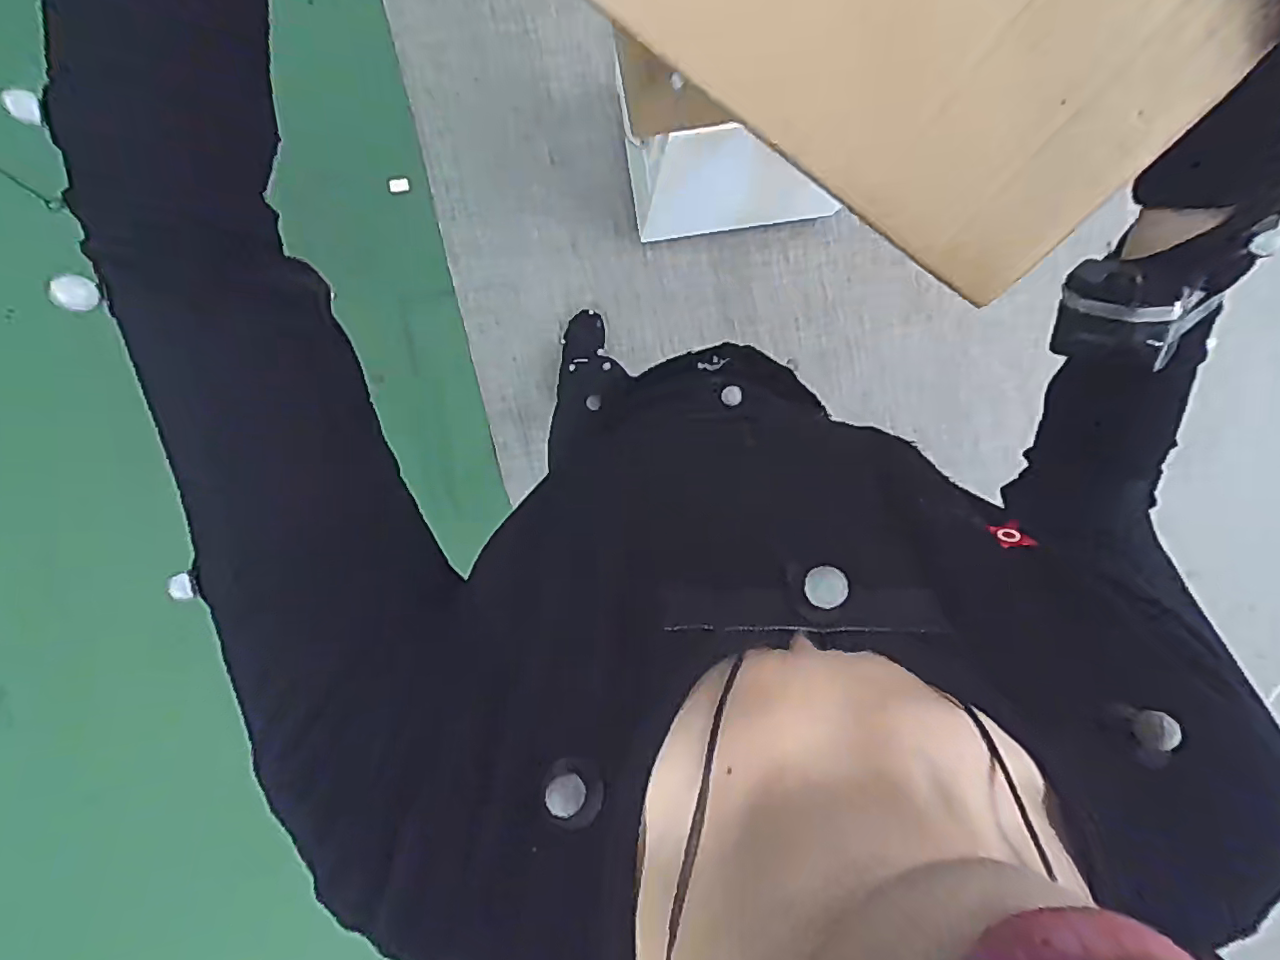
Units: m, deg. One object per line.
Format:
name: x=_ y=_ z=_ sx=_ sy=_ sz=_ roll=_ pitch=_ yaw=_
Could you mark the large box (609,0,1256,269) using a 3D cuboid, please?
large box: x=0.110 y=-0.391 z=0.272 sx=0.408 sy=0.320 sz=0.320 roll=28 pitch=127 yaw=-17
